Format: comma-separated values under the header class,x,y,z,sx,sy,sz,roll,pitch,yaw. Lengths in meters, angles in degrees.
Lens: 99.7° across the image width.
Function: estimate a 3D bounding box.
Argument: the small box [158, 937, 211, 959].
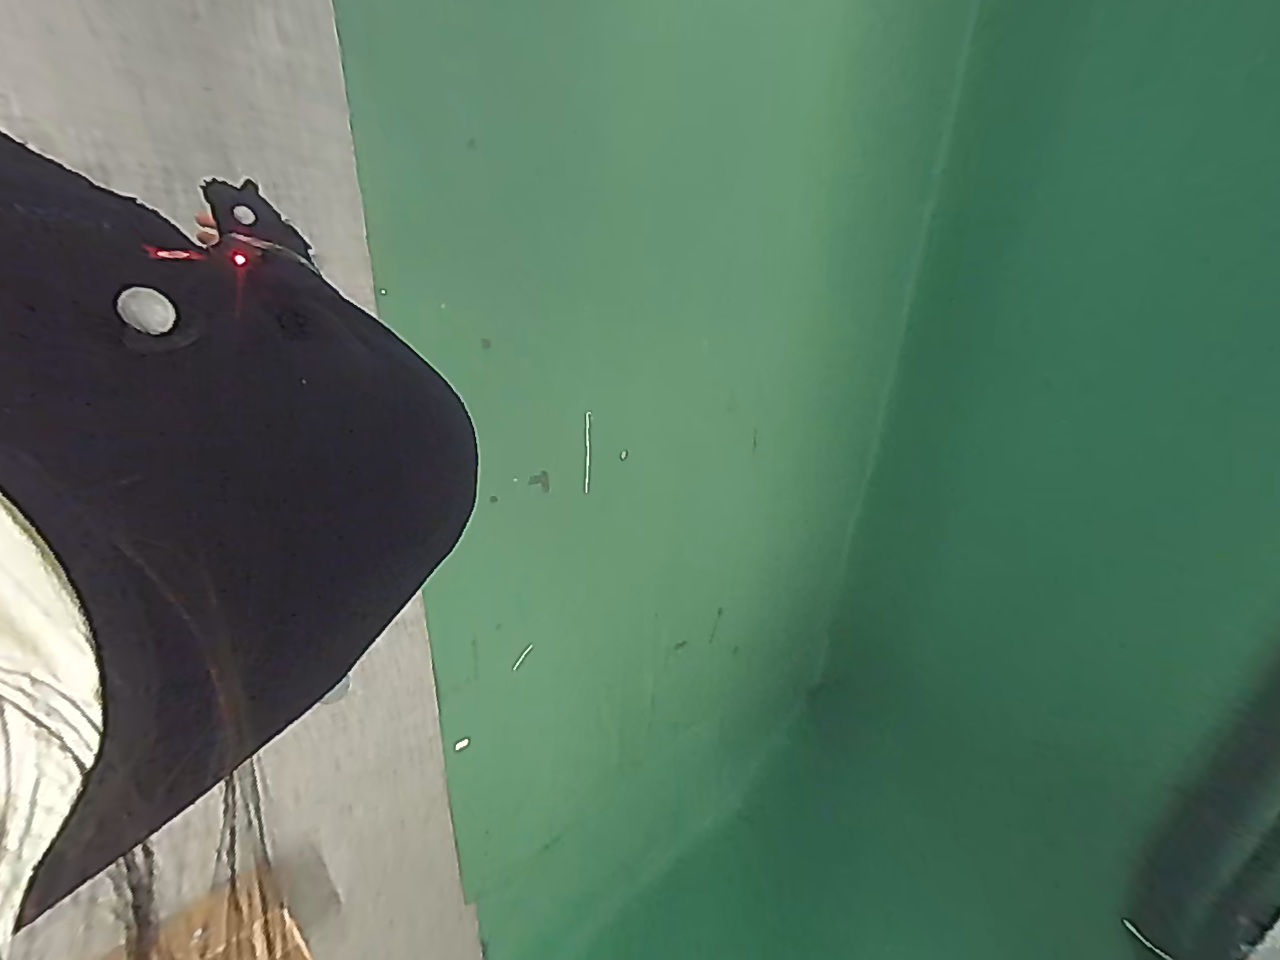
class,x,y,z,sx,sy,sz,roll,pitch,yaw
small box,-1.250,1.390,1.437,0.179,0.176,0.168,-24,126,-40
